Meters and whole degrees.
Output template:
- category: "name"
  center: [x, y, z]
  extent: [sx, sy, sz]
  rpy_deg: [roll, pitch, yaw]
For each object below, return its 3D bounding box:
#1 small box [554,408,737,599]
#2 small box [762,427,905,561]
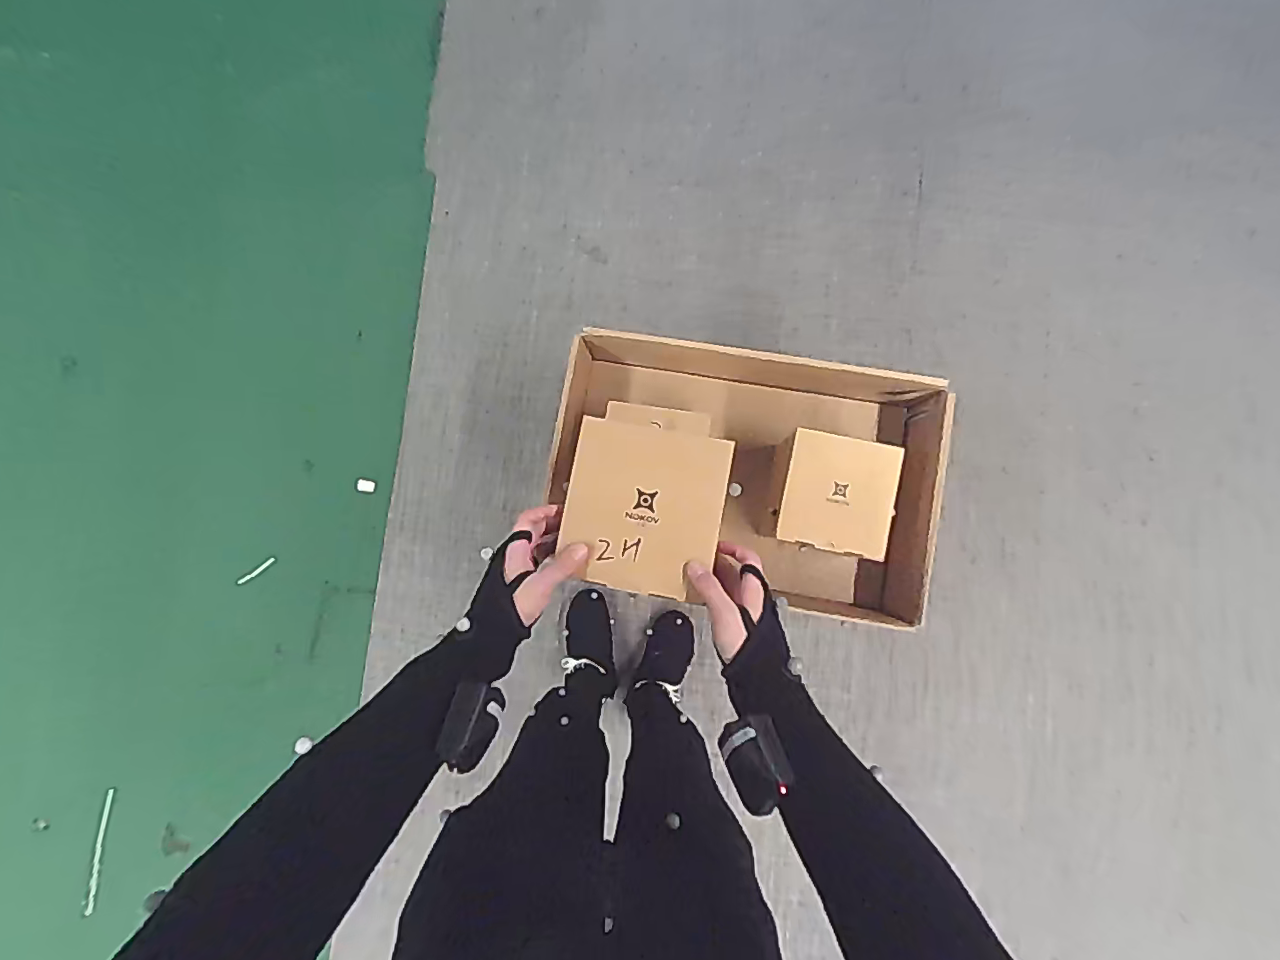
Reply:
- category: "small box"
  center: [0.011, 0.031, 0.644]
  extent: [0.168, 0.176, 0.179]
  rpy_deg: [11, 84, 5]
- category: "small box"
  center: [0.307, 0.027, 0.892]
  extent: [0.168, 0.176, 0.179]
  rpy_deg: [12, 86, 4]
